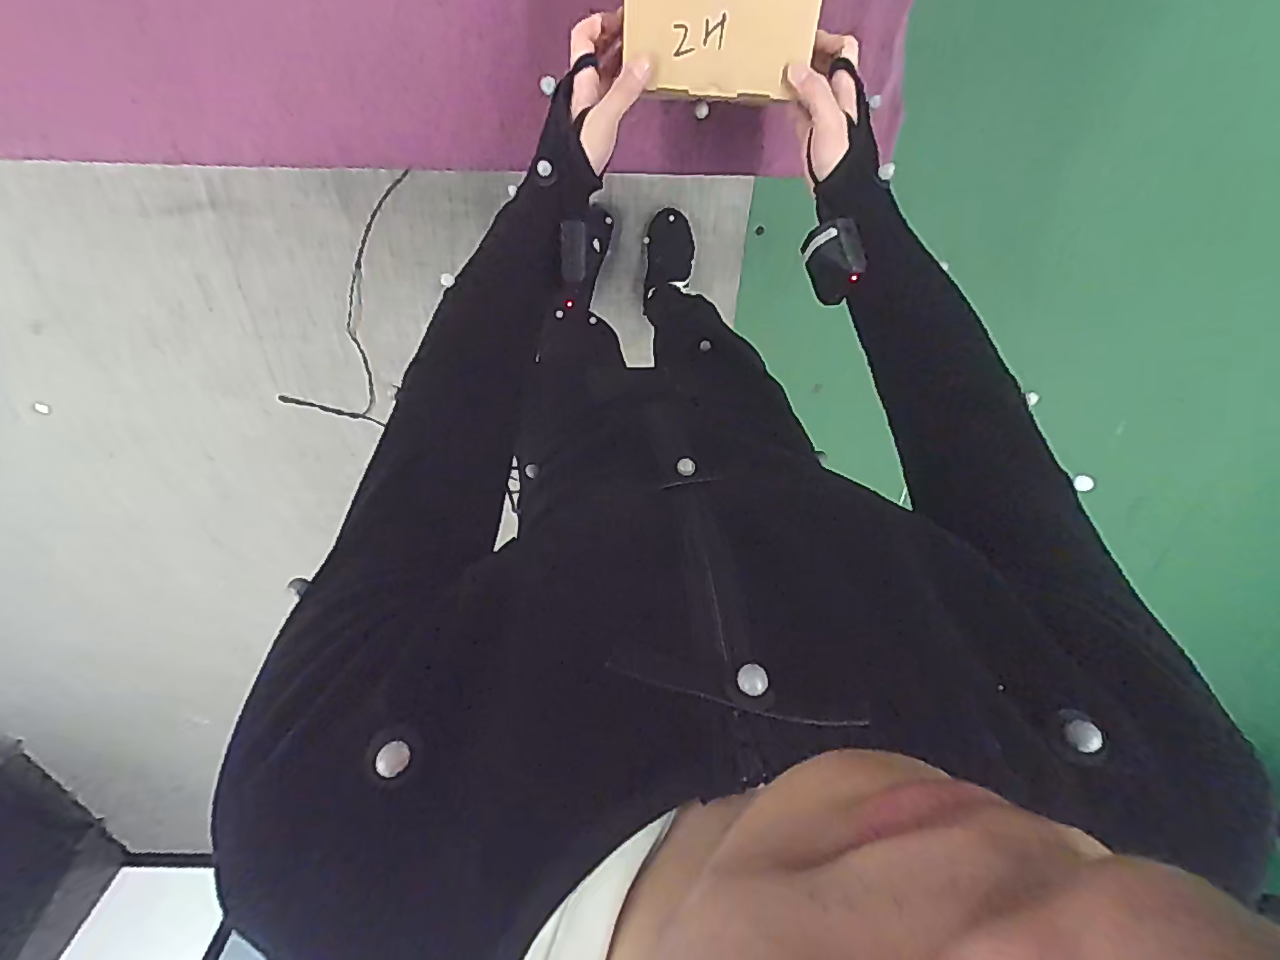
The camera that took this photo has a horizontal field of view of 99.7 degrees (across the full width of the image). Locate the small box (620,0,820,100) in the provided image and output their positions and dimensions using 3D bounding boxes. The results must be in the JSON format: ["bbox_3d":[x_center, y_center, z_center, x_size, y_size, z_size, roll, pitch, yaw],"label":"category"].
[{"bbox_3d":[0.070,-0.464,0.496,0.168,0.176,0.179,4,124,-1],"label":"small box"}]
